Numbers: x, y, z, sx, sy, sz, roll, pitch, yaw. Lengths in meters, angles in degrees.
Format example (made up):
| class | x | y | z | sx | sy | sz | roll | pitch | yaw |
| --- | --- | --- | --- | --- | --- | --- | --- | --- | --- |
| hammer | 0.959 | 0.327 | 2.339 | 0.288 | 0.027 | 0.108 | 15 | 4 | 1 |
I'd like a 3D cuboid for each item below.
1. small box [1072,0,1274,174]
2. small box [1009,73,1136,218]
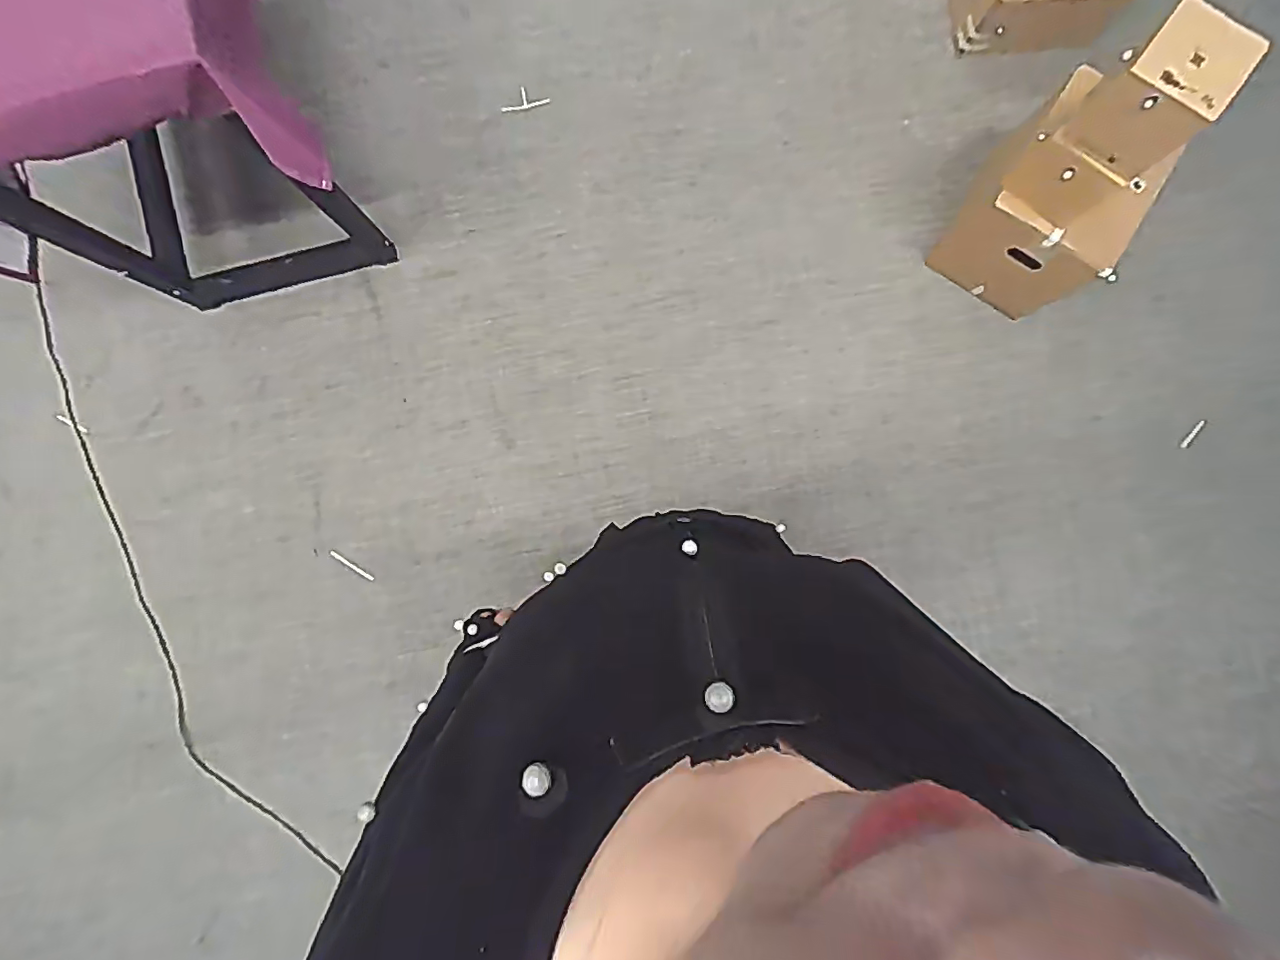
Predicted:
| class | x | y | z | sx | sy | sz | roll | pitch | yaw |
| --- | --- | --- | --- | --- | --- | --- | --- | --- | --- |
| small box | 0.957 | -0.717 | 0.991 | 0.168 | 0.176 | 0.179 | 37 | 88 | 5 |
| small box | 0.954 | -0.698 | 1.155 | 0.179 | 0.176 | 0.168 | 41 | 89 | 4 |
